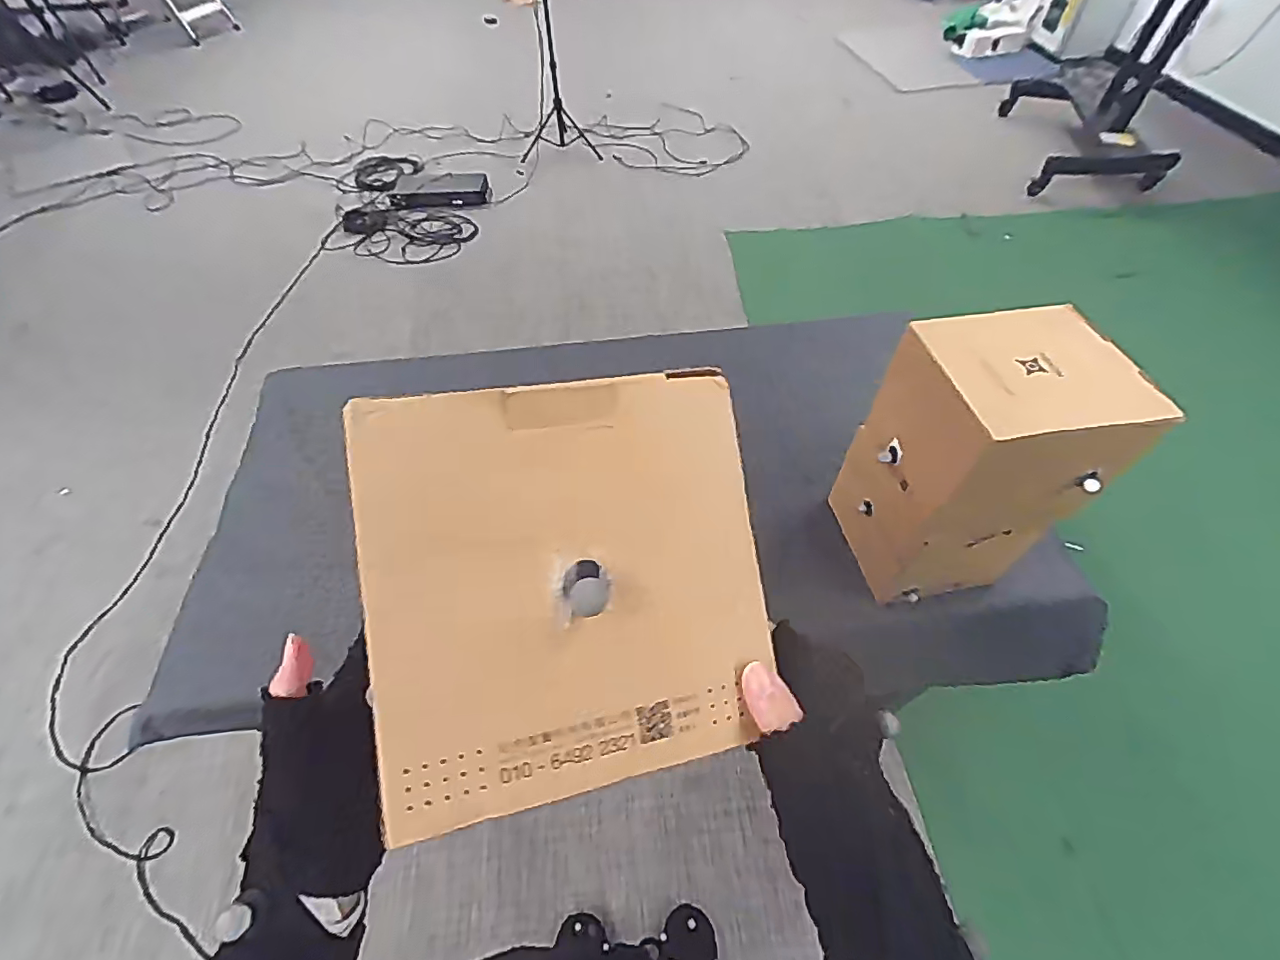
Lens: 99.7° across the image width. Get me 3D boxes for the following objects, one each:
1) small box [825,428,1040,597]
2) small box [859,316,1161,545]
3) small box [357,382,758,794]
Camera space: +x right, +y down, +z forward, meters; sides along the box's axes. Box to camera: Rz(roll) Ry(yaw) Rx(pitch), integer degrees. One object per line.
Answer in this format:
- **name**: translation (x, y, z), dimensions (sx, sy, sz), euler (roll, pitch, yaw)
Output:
- **small box**: translation (0.369, 0.040, 0.715), dimensions (0.168, 0.176, 0.179), euler (-9, 53, -5)
- **small box**: translation (0.366, -0.049, 0.580), dimensions (0.179, 0.176, 0.168), euler (-8, 52, -3)
- **small box**: translation (-0.051, 0.052, 0.313), dimensions (0.168, 0.179, 0.176), euler (-6, 85, -19)
